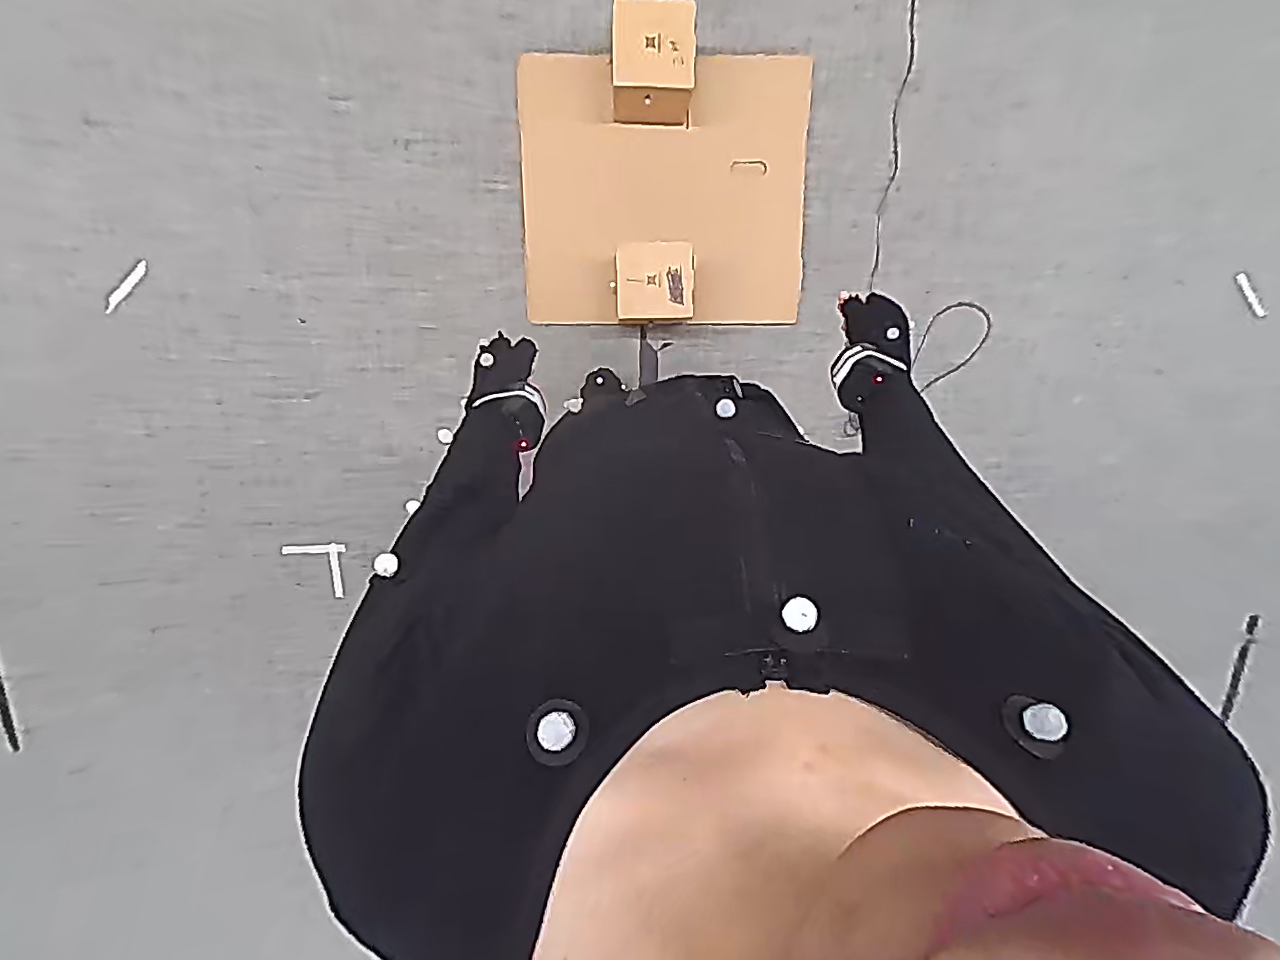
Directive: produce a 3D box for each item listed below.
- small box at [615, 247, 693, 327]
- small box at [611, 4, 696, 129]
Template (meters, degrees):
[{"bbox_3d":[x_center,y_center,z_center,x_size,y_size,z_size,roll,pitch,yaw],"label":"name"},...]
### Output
[{"bbox_3d":[0.030,-0.461,1.304,0.179,0.176,0.168,-2,102,-2],"label":"small box"},{"bbox_3d":[0.024,-0.914,1.210,0.179,0.176,0.168,1,101,-3],"label":"small box"}]
